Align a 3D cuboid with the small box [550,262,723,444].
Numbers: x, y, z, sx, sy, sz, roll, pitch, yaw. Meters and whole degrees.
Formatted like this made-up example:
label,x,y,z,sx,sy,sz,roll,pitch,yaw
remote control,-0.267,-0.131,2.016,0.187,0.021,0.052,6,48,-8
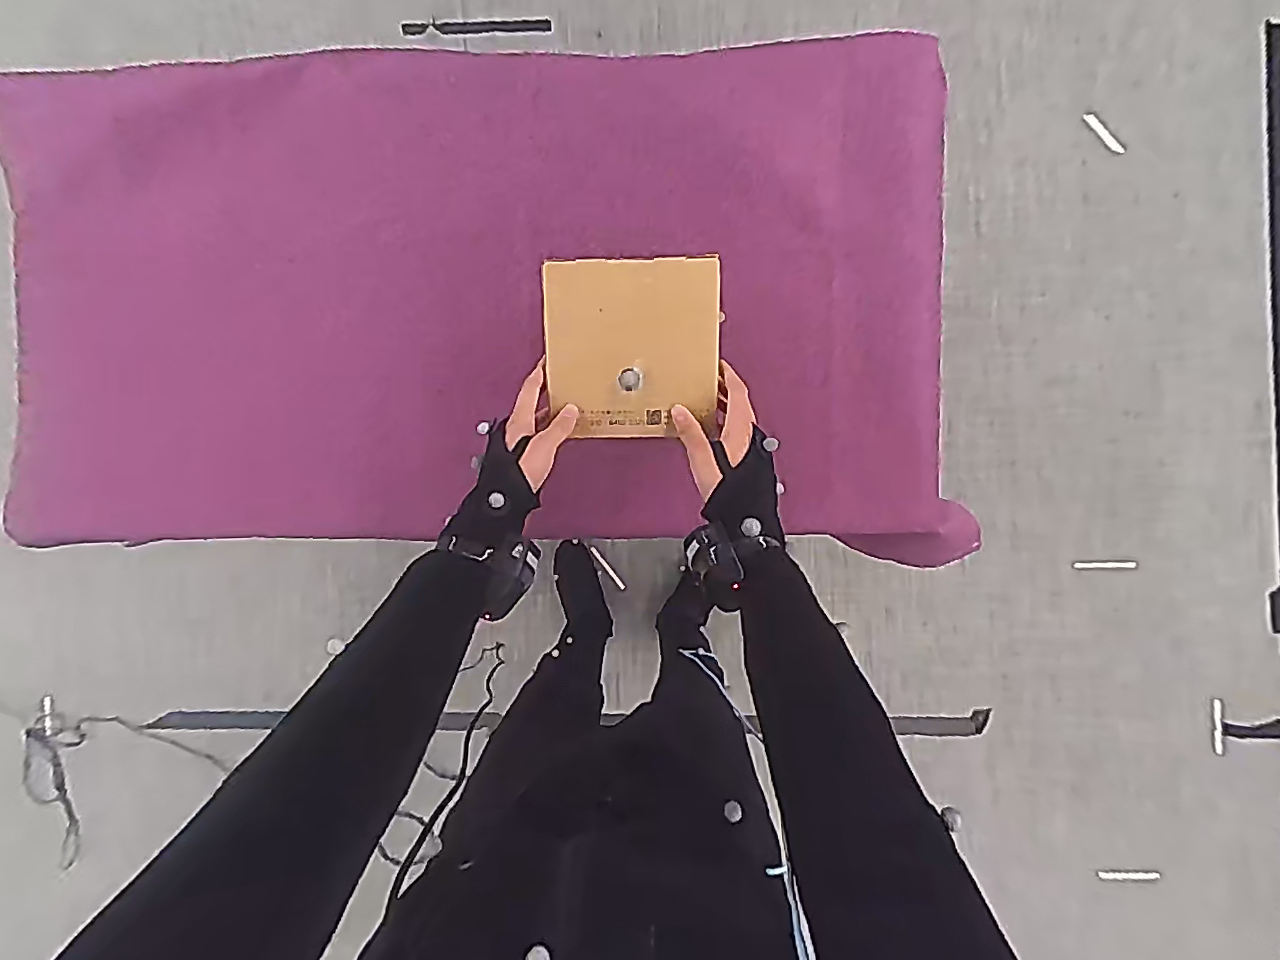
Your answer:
label,x,y,z,sx,sy,sz,roll,pitch,yaw
small box,0.001,-0.134,0.598,0.168,0.179,0.176,0,101,4
